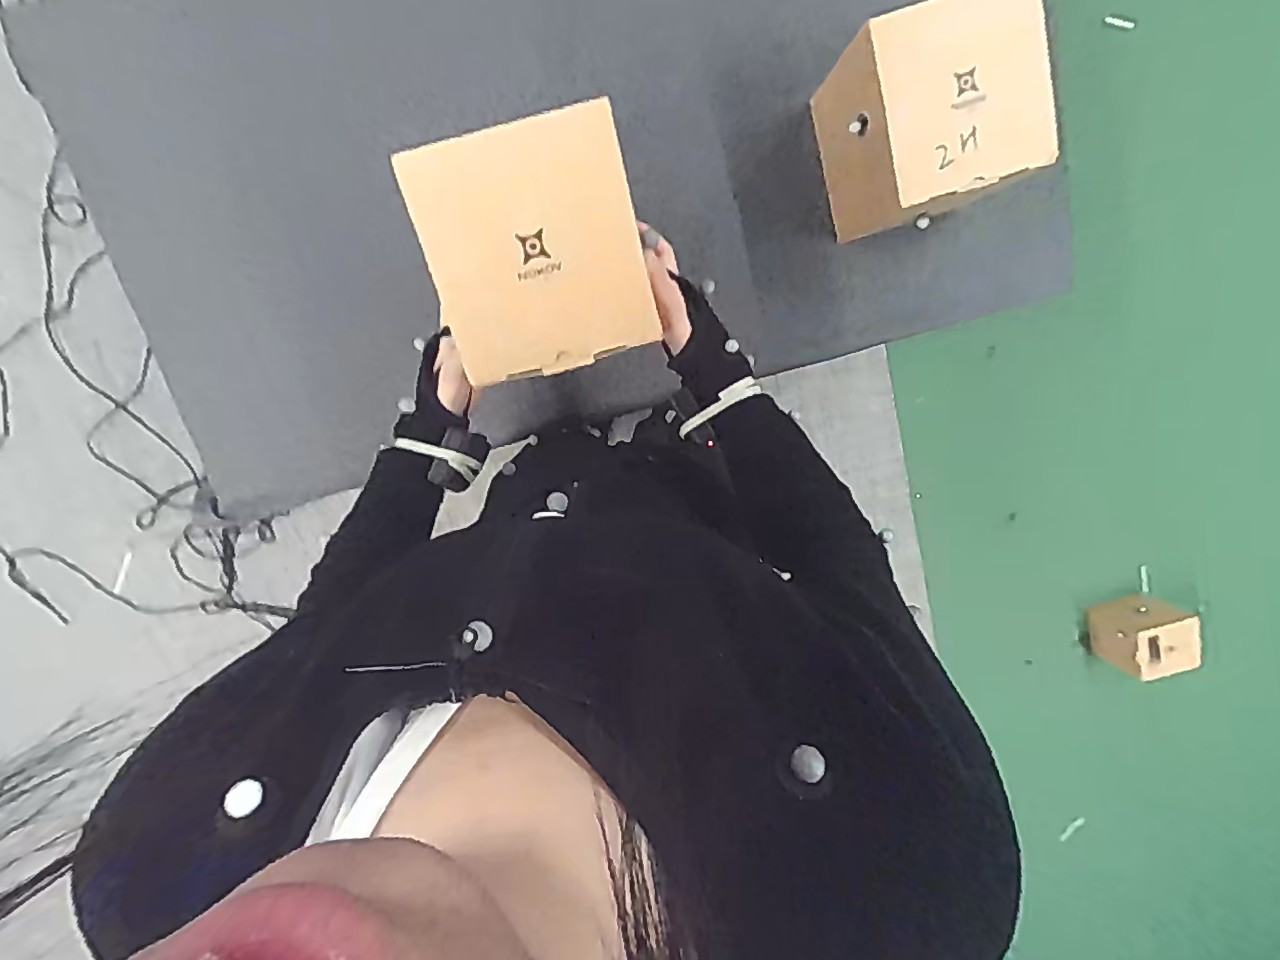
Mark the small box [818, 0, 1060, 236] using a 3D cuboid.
[{"bbox_3d":[0.316,-0.400,0.605,0.168,0.176,0.179,-17,102,4],"label":"small box"}]
